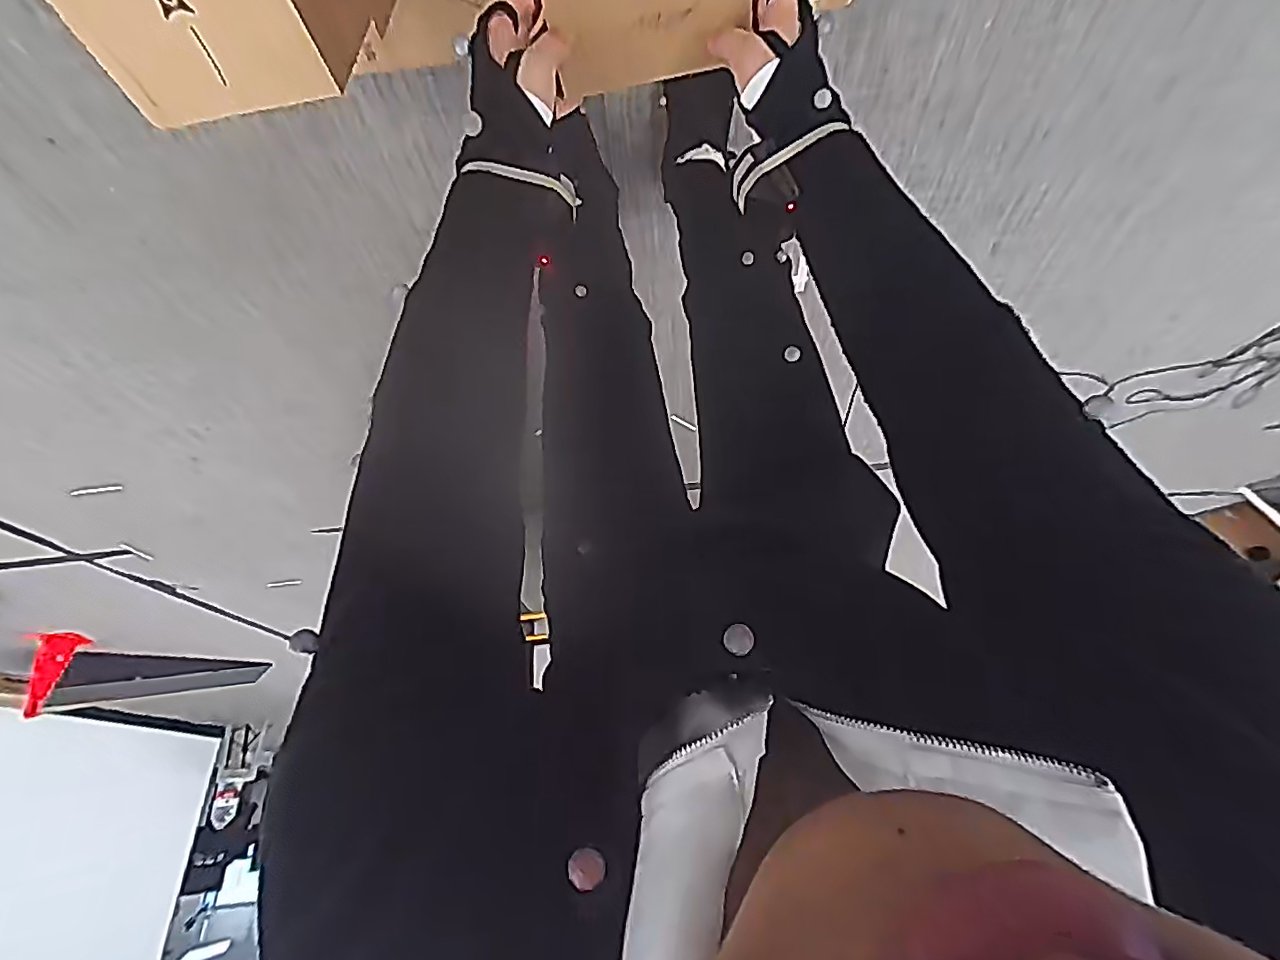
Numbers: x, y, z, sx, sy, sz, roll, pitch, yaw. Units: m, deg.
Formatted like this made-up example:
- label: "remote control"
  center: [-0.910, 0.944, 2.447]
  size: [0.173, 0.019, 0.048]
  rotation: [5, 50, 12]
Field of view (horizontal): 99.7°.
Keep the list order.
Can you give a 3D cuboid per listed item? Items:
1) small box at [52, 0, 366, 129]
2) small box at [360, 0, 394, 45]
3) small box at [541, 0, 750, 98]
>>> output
- label: "small box"
  center: [-0.346, -0.420, 0.425]
  size: [0.168, 0.176, 0.179]
  rotation: [-9, 148, 2]
- label: "small box"
  center: [-0.360, -0.551, 0.524]
  size: [0.168, 0.176, 0.179]
  rotation: [-8, 148, 1]
- label: "small box"
  center: [-0.007, -0.459, 0.436]
  size: [0.168, 0.176, 0.179]
  rotation: [-9, 150, 5]
